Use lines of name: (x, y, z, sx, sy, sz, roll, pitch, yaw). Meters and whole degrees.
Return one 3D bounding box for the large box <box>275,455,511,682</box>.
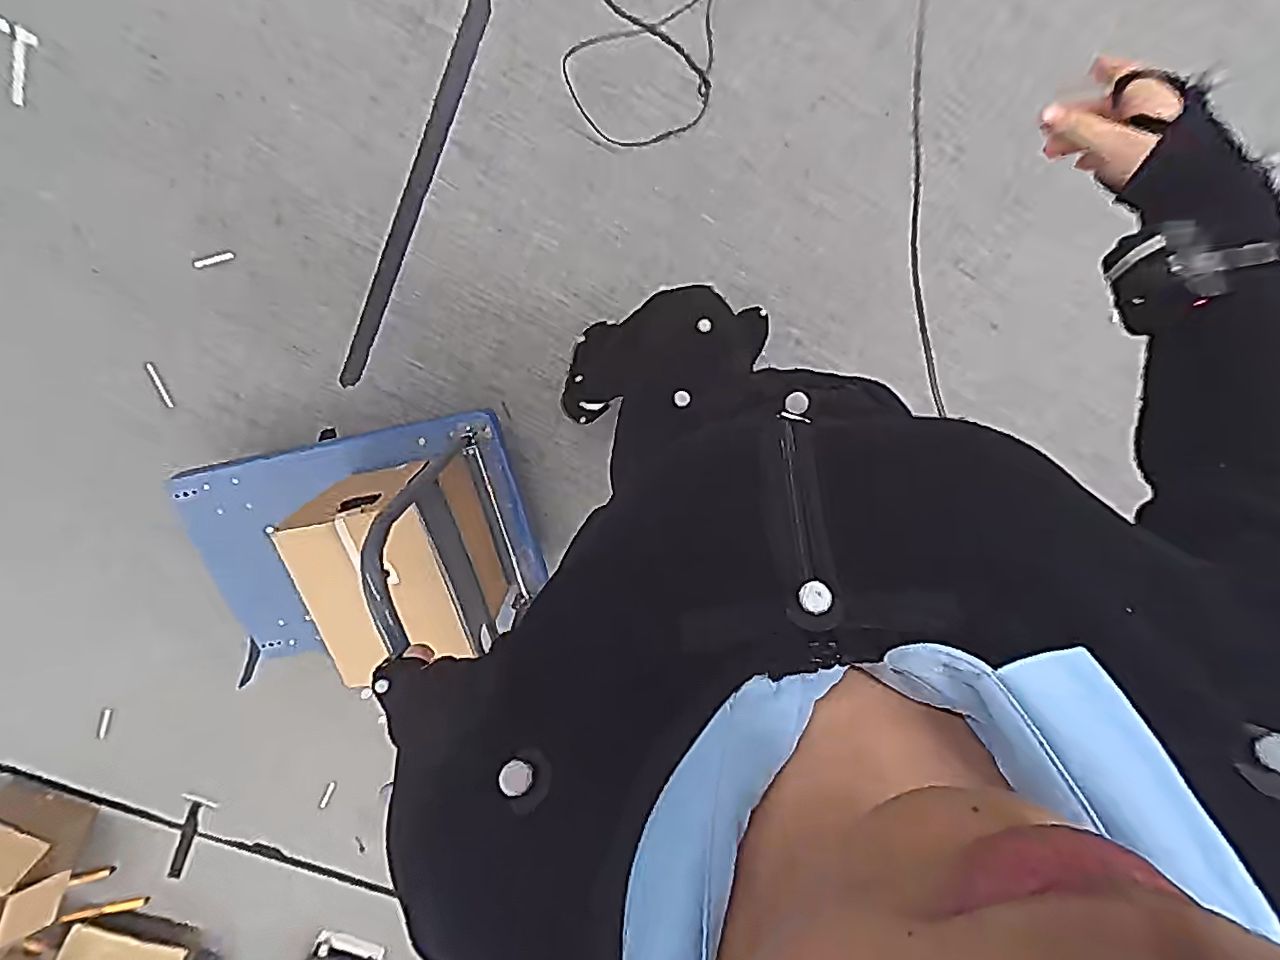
large box: (-0.541, 0.197, 1.279, 0.320, 0.320, 0.408, -11, 110, 4)
